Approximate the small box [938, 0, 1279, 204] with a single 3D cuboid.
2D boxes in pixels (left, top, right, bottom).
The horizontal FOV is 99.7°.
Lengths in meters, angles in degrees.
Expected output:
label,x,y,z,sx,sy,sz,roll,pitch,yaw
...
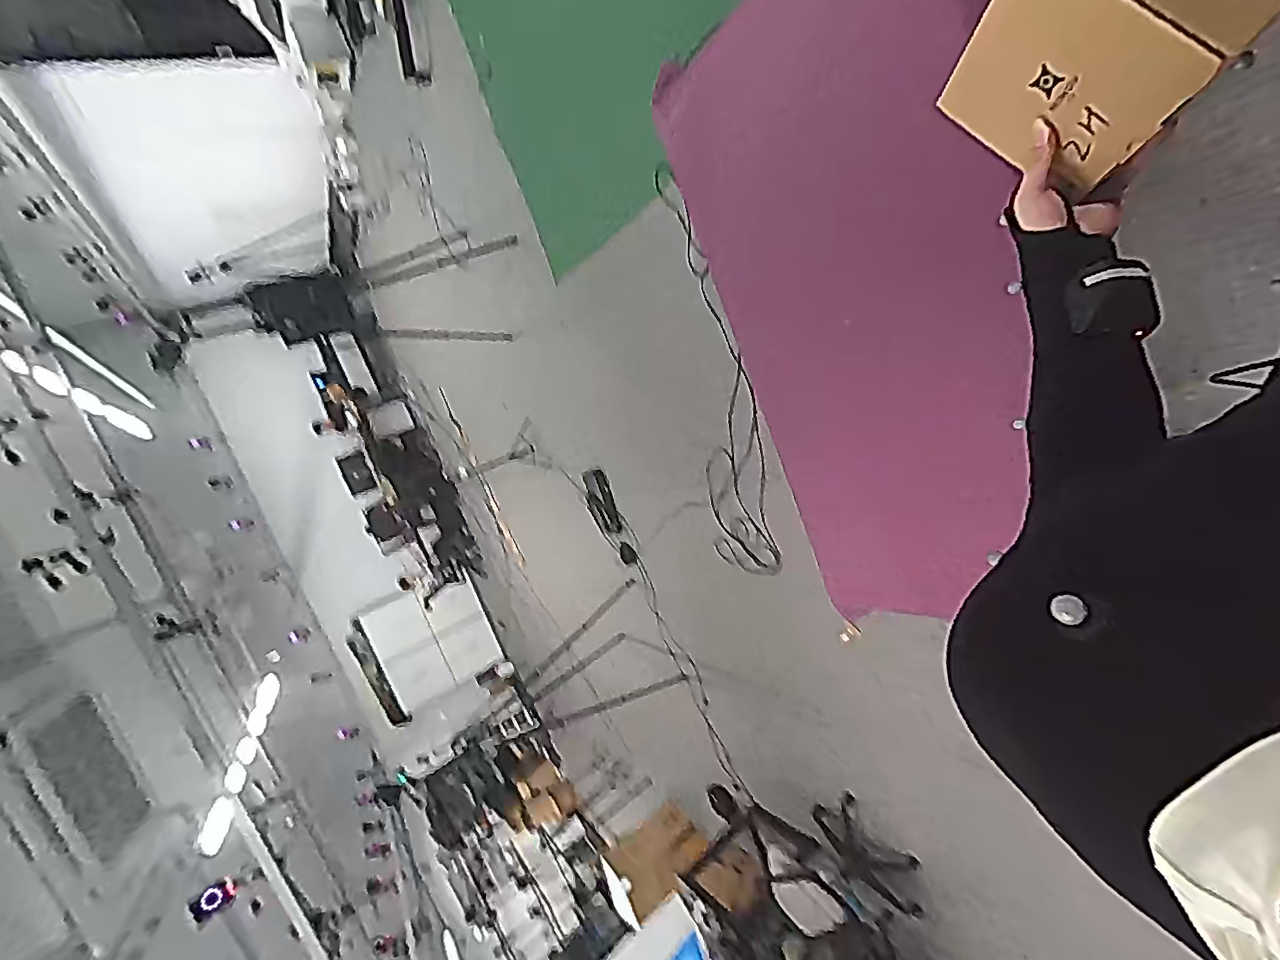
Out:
label,x,y,z,sx,sy,sz,roll,pitch,yaw
small box,0.411,-0.392,0.458,0.179,0.176,0.168,46,180,9
